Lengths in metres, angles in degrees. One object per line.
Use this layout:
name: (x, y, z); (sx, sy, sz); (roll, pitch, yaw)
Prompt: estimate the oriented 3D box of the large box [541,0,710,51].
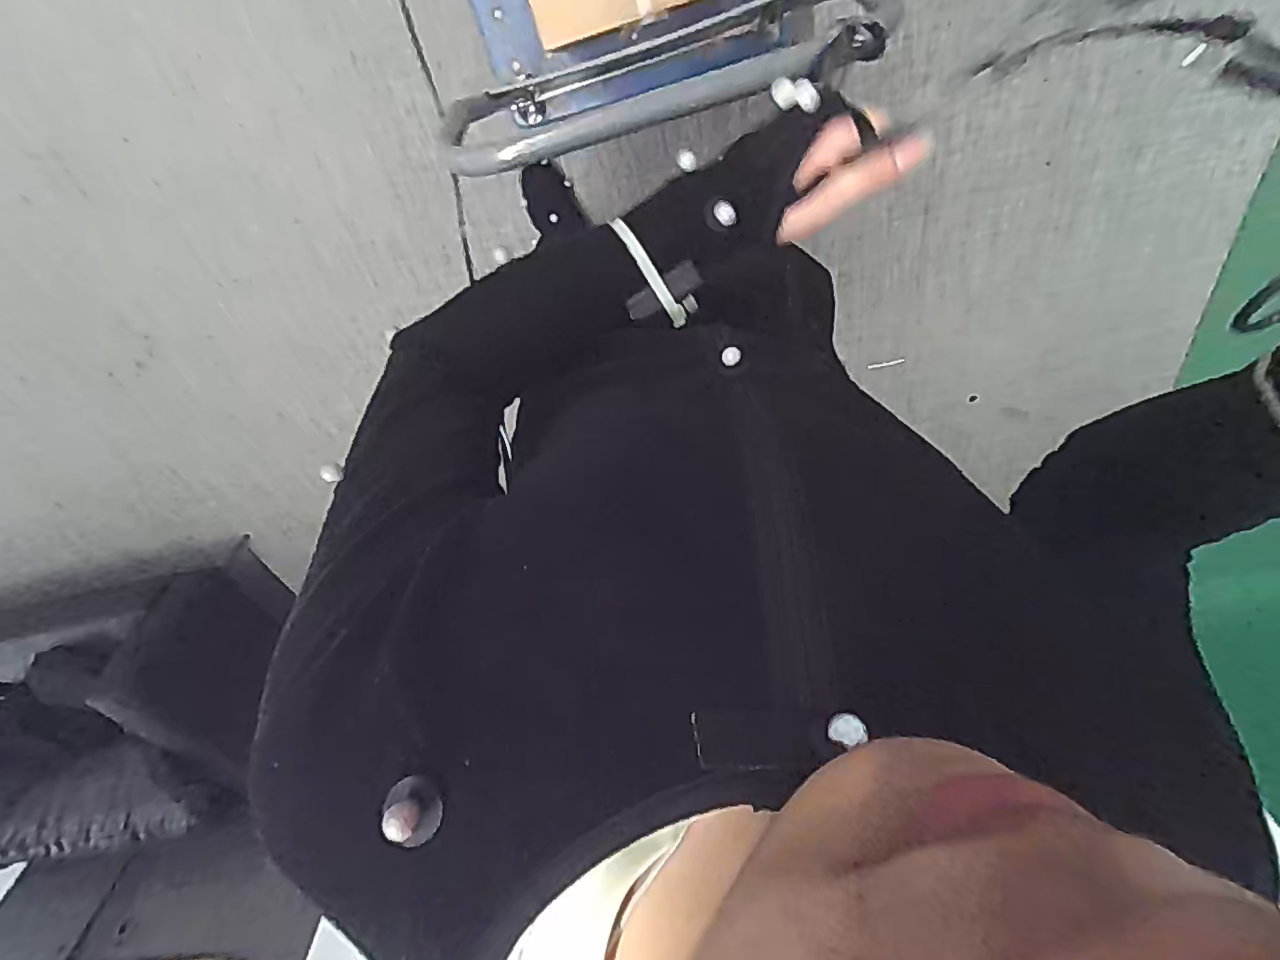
large box: (-0.028, -0.905, 0.766); (0.320, 0.320, 0.408); (-12, 127, 9)
